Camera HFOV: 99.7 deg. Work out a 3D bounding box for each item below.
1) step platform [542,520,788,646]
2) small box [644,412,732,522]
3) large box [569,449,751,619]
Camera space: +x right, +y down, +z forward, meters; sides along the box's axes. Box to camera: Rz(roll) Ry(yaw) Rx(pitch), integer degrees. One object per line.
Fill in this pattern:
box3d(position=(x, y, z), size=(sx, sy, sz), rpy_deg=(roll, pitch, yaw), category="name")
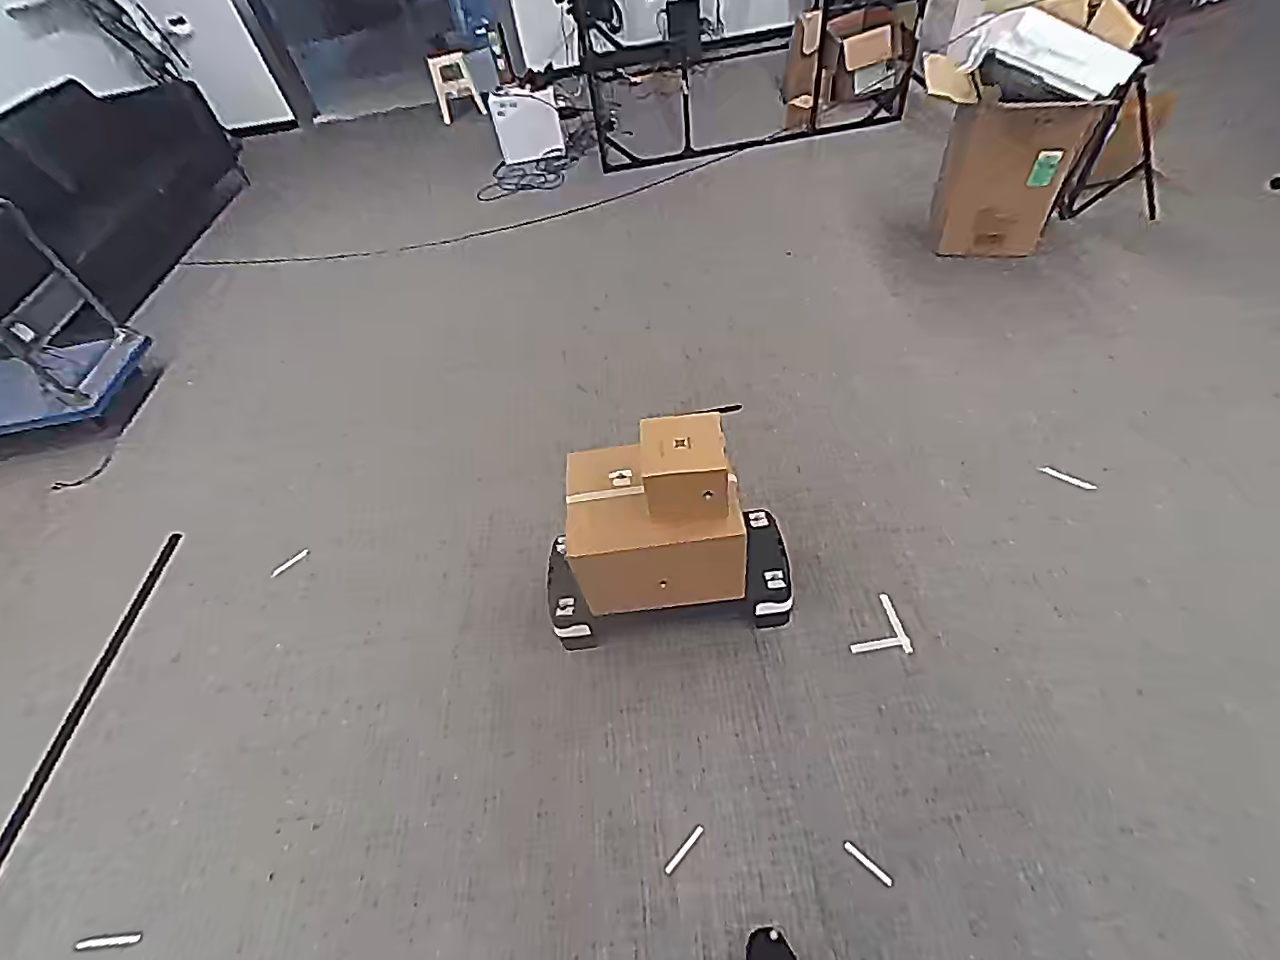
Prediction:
box3d(position=(0.068, 0.294, 1.551), size=(0.684, 0.204, 0.286), rpy_deg=(-5, 50, 7), category="step platform")
box3d(position=(0.104, -0.025, 1.176), size=(0.179, 0.176, 0.168), rpy_deg=(-6, 51, 6), category="small box")
box3d(position=(0.052, 0.129, 1.379), size=(0.408, 0.320, 0.320), rpy_deg=(-9, 49, 4), category="large box")
